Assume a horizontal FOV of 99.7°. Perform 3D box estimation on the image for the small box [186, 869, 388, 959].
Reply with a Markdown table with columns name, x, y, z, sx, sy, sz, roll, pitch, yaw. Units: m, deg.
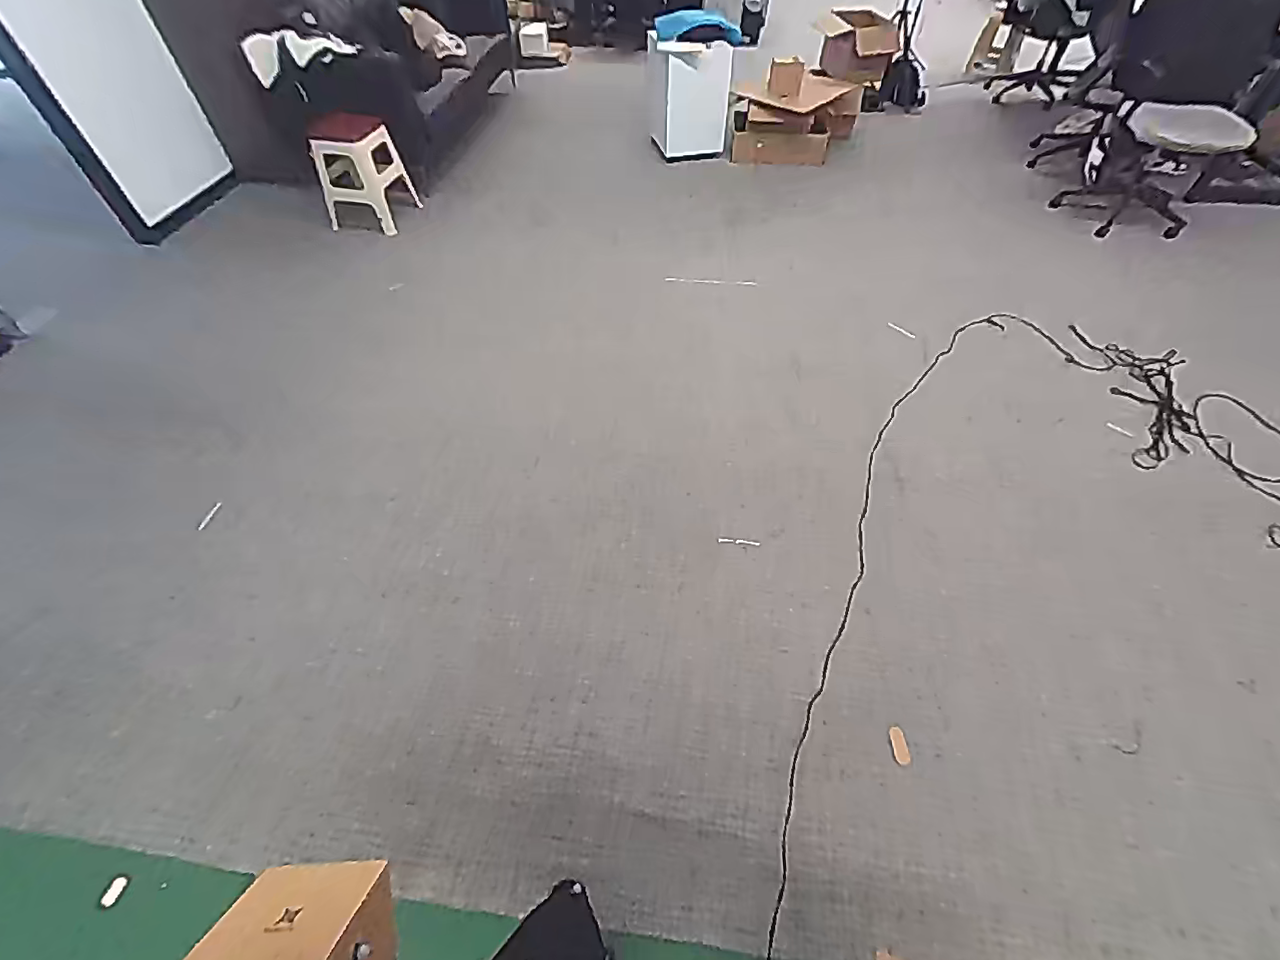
| name | x | y | z | sx | sy | sz | roll | pitch | yaw |
| --- | --- | --- | --- | --- | --- | --- | --- | --- | --- |
| small box | -0.416 | 0.608 | 0.640 | 0.168 | 0.179 | 0.176 | -4 | 92 | 0 |
